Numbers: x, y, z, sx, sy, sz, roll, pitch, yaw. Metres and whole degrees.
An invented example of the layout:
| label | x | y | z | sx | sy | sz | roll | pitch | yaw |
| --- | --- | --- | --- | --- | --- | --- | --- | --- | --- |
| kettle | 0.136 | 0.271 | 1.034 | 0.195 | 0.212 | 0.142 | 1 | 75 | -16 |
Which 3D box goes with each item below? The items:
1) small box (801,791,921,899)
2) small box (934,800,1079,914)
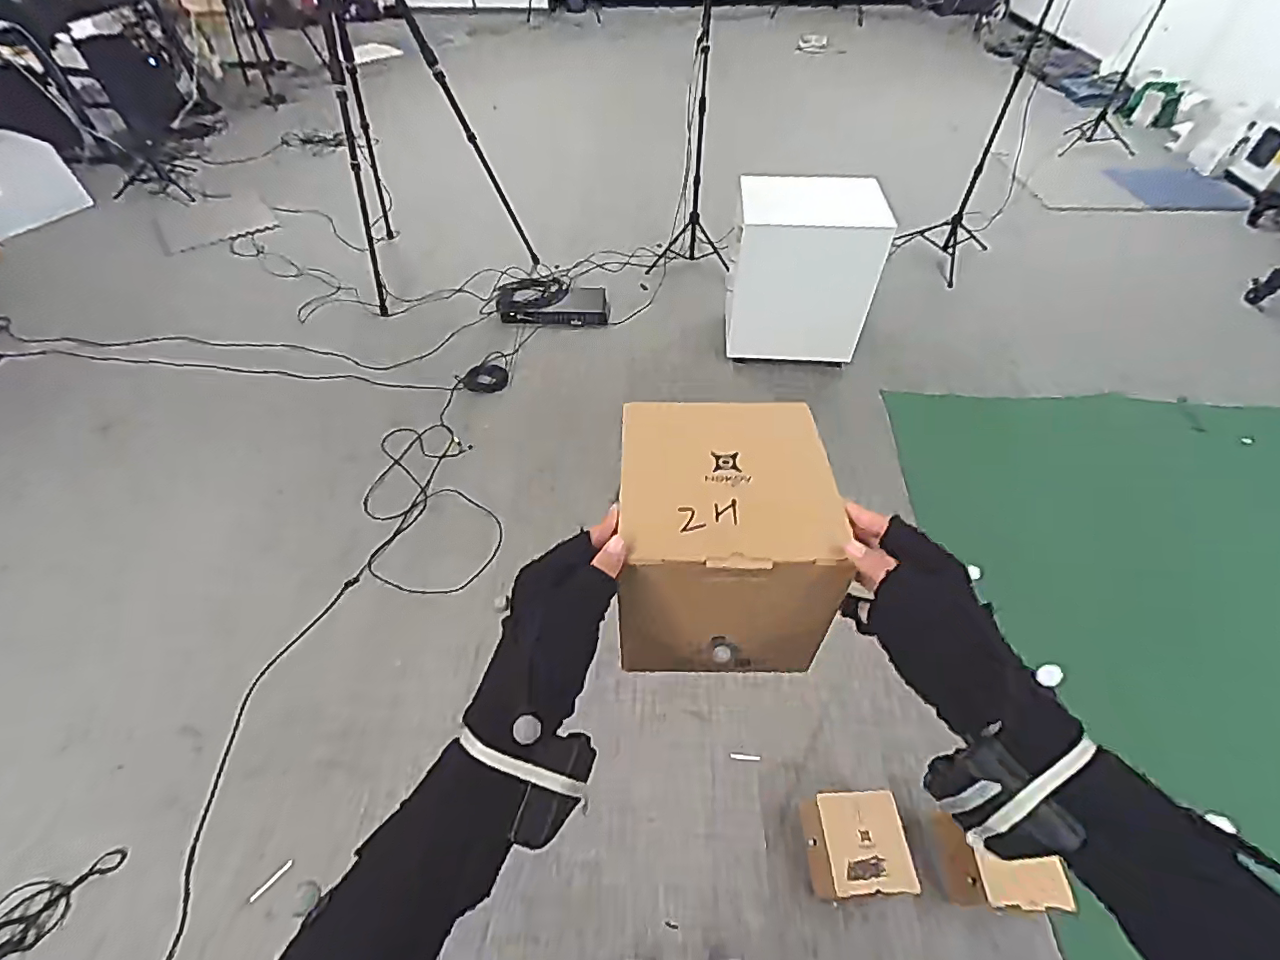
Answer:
| label | x | y | z | sx | sy | sz | roll | pitch | yaw |
| --- | --- | --- | --- | --- | --- | --- | --- | --- | --- |
| small box | 0.455 | 0.775 | 1.143 | 0.168 | 0.176 | 0.179 | -1 | 49 | -1 |
| small box | 0.747 | 0.790 | 1.131 | 0.168 | 0.176 | 0.179 | 1 | 50 | 2 |
